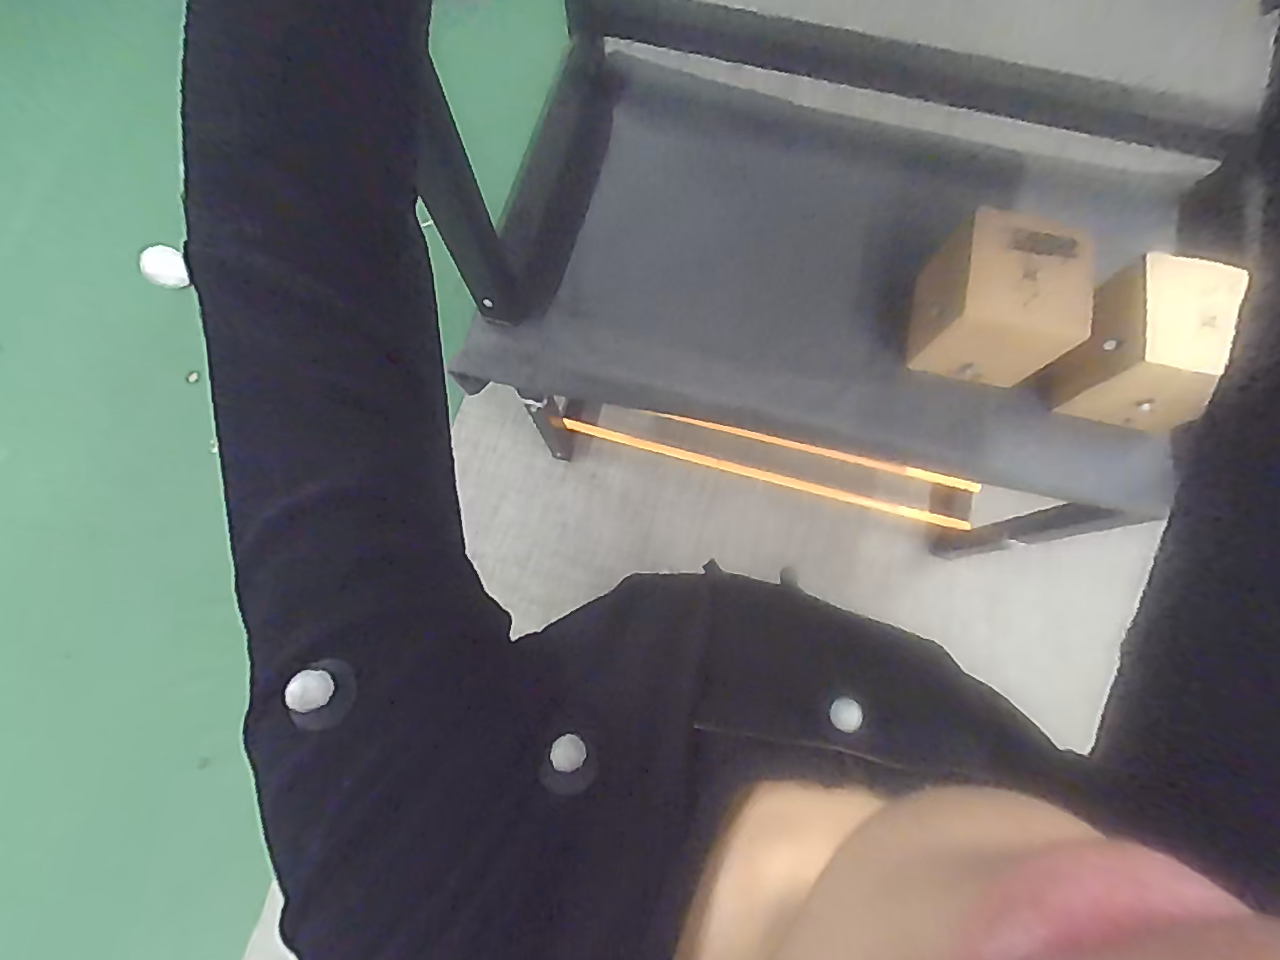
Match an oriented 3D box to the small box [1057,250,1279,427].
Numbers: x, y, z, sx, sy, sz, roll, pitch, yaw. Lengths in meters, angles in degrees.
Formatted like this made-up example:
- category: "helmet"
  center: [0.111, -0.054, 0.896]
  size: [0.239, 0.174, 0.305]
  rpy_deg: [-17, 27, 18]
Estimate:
- category: "small box"
  center: [0.750, -0.195, 0.789]
  size: [0.168, 0.176, 0.179]
  rpy_deg: [13, 75, 3]
